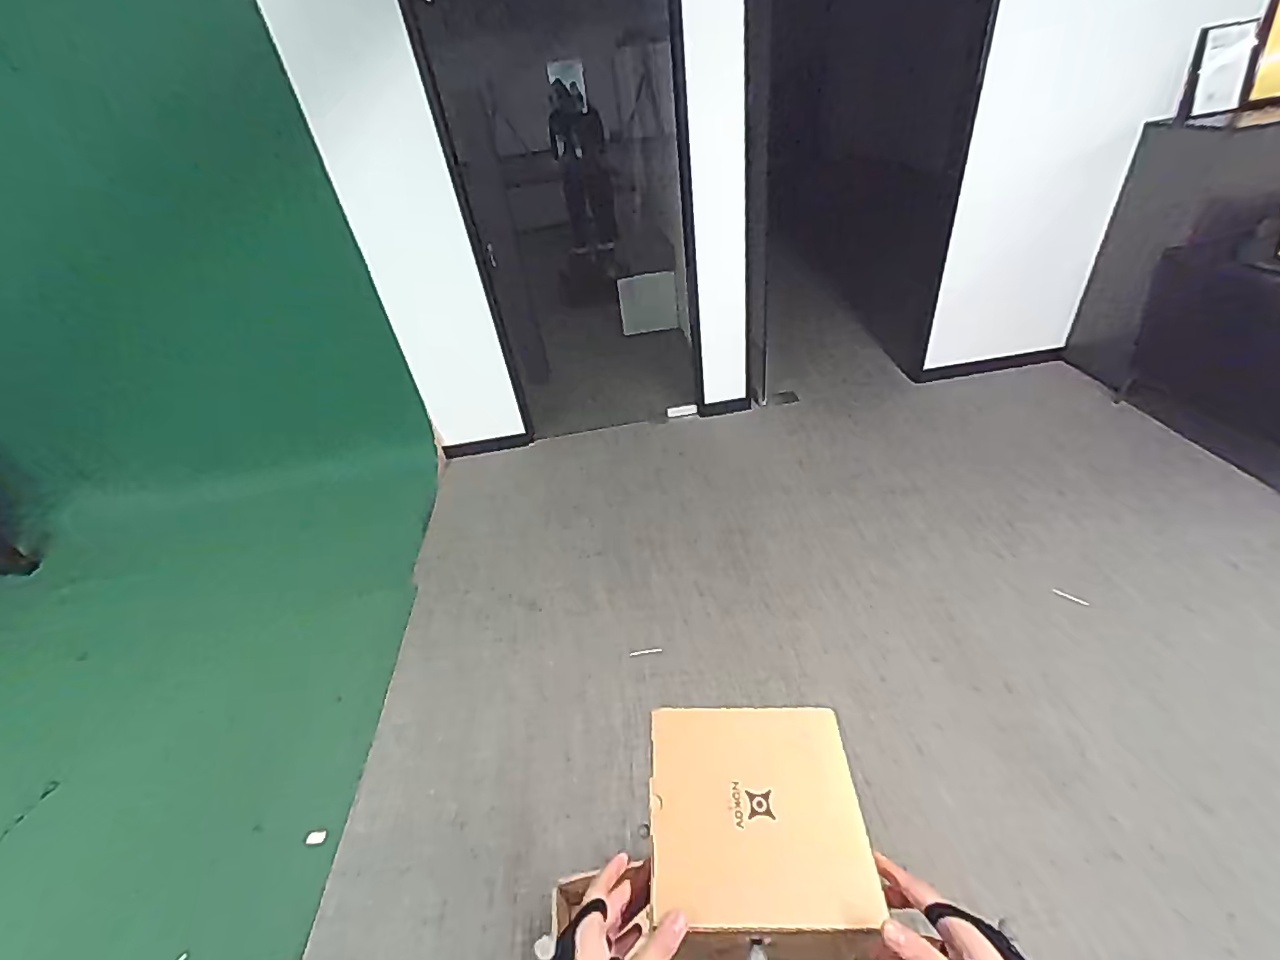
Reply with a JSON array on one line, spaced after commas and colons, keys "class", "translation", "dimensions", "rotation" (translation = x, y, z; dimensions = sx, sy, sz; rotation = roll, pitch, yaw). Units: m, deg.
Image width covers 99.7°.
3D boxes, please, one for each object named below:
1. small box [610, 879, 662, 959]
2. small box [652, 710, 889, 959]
[{"class": "small box", "translation": [0.048, 0.845, 0.974], "dimensions": [0.168, 0.176, 0.179], "rotation": [-11, 39, -7]}, {"class": "small box", "translation": [0.100, 0.334, 0.505], "dimensions": [0.179, 0.176, 0.168], "rotation": [-2, 40, 2]}]
